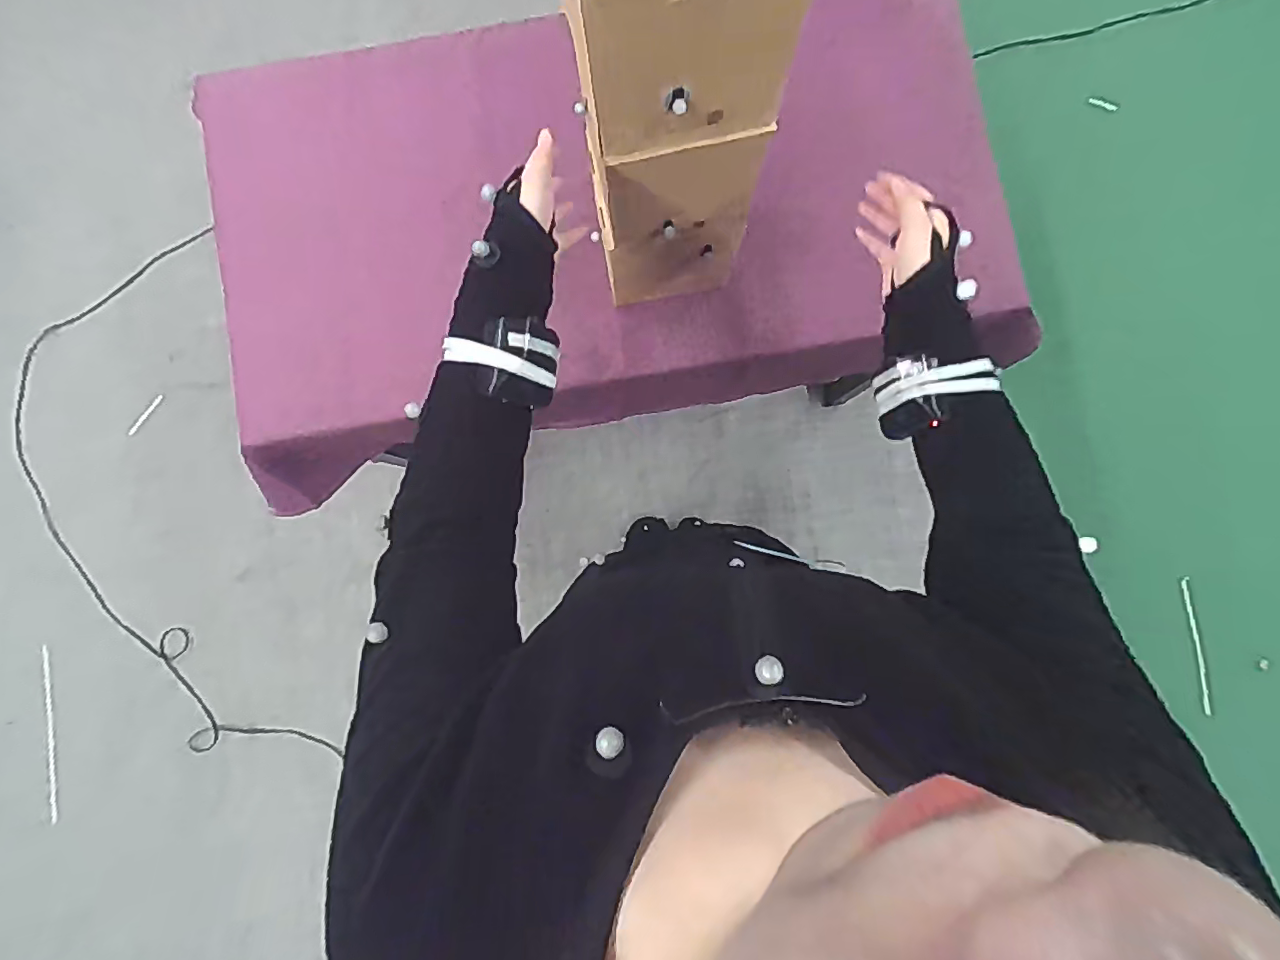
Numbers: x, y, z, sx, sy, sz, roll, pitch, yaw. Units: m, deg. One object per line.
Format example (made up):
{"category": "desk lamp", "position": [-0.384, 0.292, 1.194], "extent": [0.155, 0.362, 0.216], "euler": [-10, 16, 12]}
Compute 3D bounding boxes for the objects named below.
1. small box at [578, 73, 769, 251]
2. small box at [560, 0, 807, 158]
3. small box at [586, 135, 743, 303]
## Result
{"category": "small box", "position": [0.026, -0.384, 0.591], "extent": [0.168, 0.176, 0.179], "euler": [-12, 86, 0]}
{"category": "small box", "position": [0.021, -0.403, 0.429], "extent": [0.168, 0.176, 0.179], "euler": [-14, 86, 0]}
{"category": "small box", "position": [0.029, -0.368, 0.753], "extent": [0.179, 0.176, 0.168], "euler": [-11, 85, 0]}
